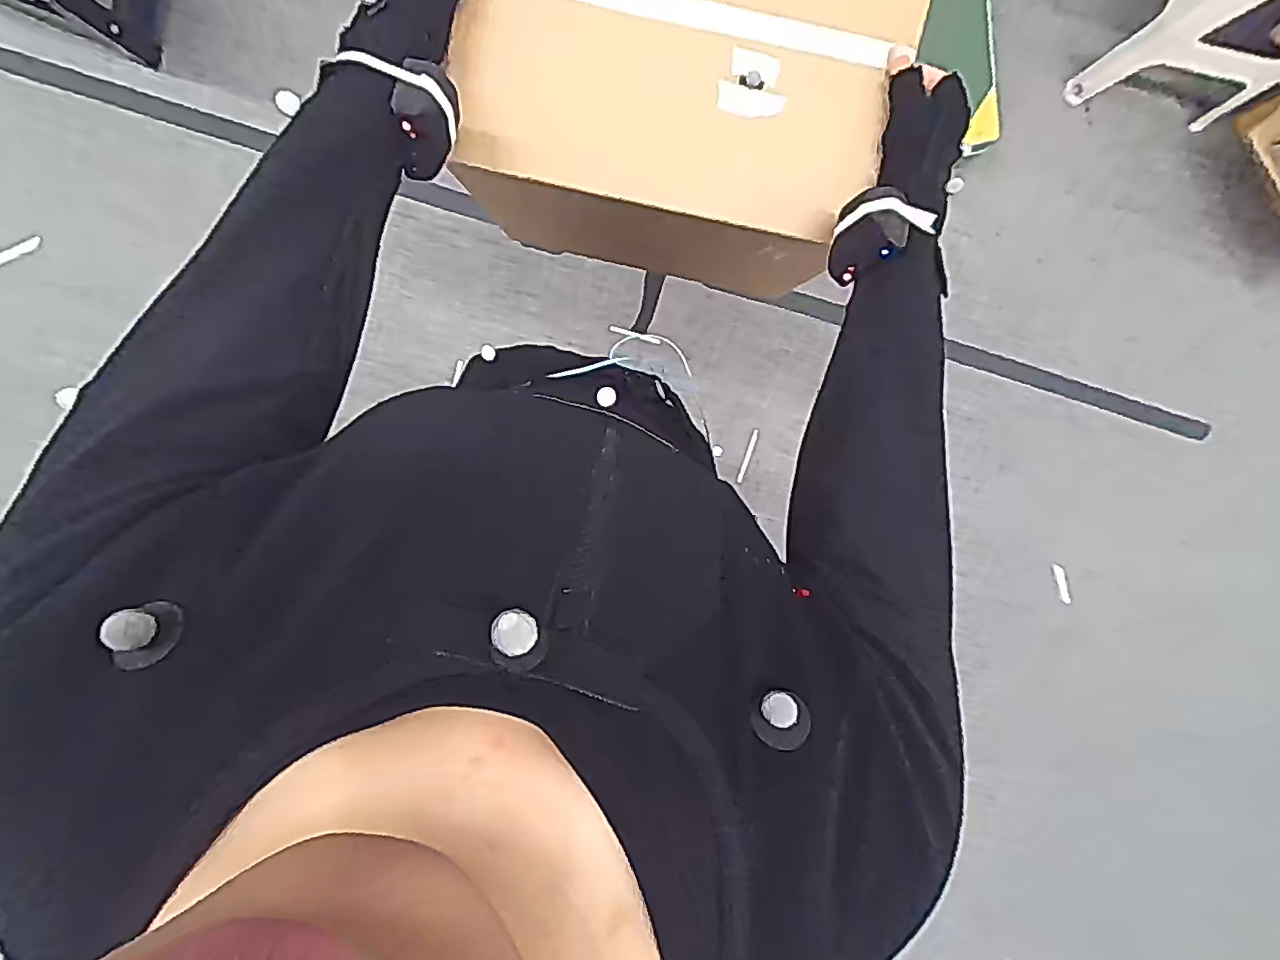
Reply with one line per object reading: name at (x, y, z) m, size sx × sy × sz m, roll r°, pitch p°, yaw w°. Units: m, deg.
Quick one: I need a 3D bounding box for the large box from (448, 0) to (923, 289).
large box at (0.040, -0.436, 0.623) m, size 0.408 × 0.320 × 0.320 m, roll 11°, pitch 102°, yaw -3°
